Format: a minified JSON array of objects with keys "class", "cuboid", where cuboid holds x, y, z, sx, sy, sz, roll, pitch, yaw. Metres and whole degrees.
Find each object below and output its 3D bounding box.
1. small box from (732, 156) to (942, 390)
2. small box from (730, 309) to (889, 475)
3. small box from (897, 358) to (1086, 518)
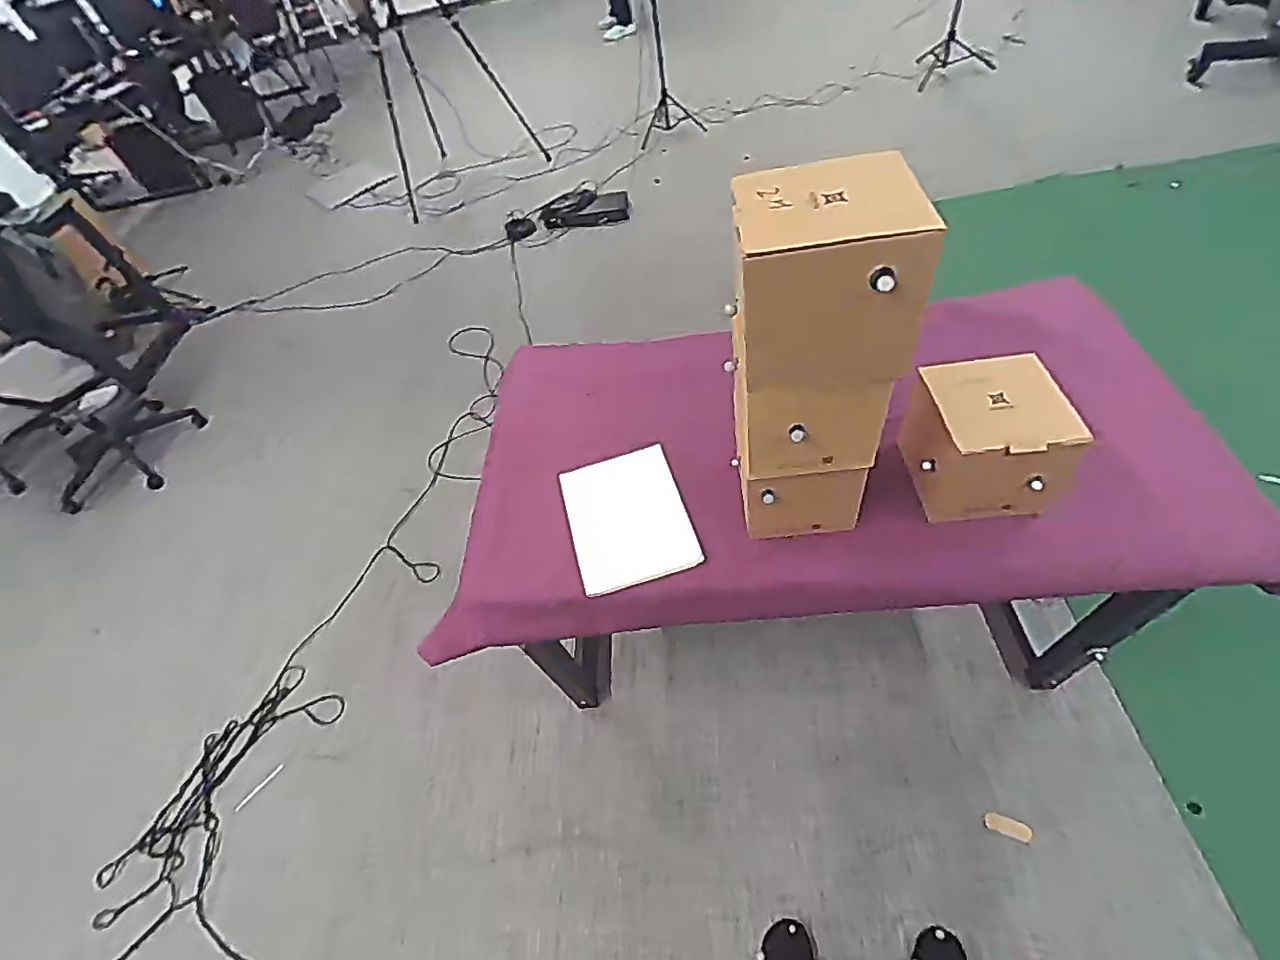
[{"class":"small box","cuboid":[0.194,-0.217,0.589,0.179,0.176,0.168,-4,50,10]},{"class":"small box","cuboid":[0.214,-0.120,0.721,0.168,0.176,0.179,-6,51,8]},{"class":"small box","cuboid":[0.509,-0.055,0.816,0.168,0.176,0.179,-5,50,7]}]
